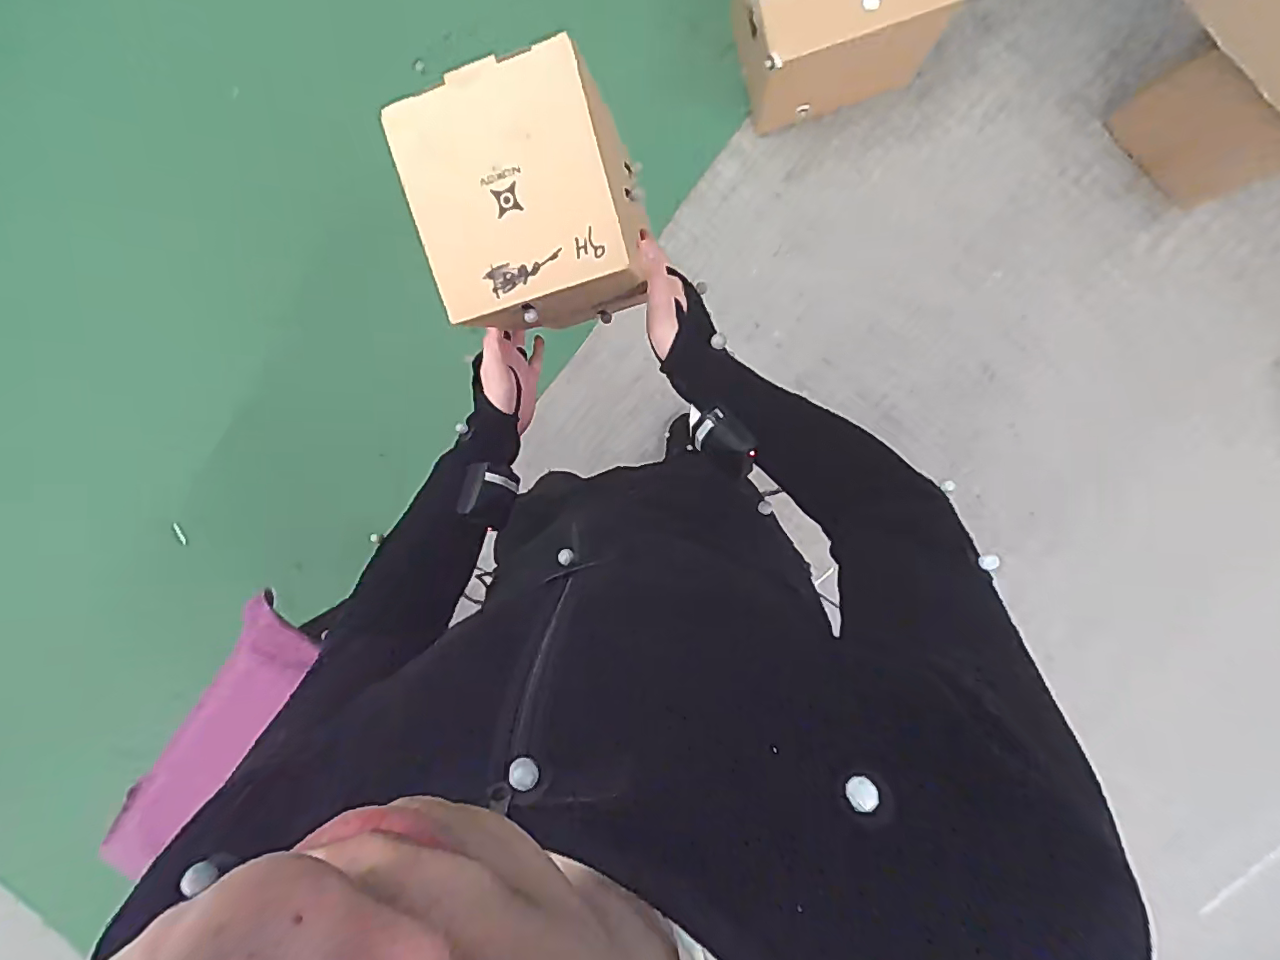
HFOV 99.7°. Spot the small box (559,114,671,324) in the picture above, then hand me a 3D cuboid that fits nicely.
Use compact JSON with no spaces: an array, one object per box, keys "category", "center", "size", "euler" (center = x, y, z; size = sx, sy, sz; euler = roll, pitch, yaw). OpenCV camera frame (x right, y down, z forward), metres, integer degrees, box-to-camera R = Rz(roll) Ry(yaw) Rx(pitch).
[{"category":"small box","center":[-0.064,-0.301,0.666],"size":[0.168,0.176,0.179],"euler":[-13,102,12]}]

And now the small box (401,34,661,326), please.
[{"category":"small box","center":[-0.083,-0.254,0.510],"size":[0.168,0.176,0.179],"euler":[-12,102,11]}]
